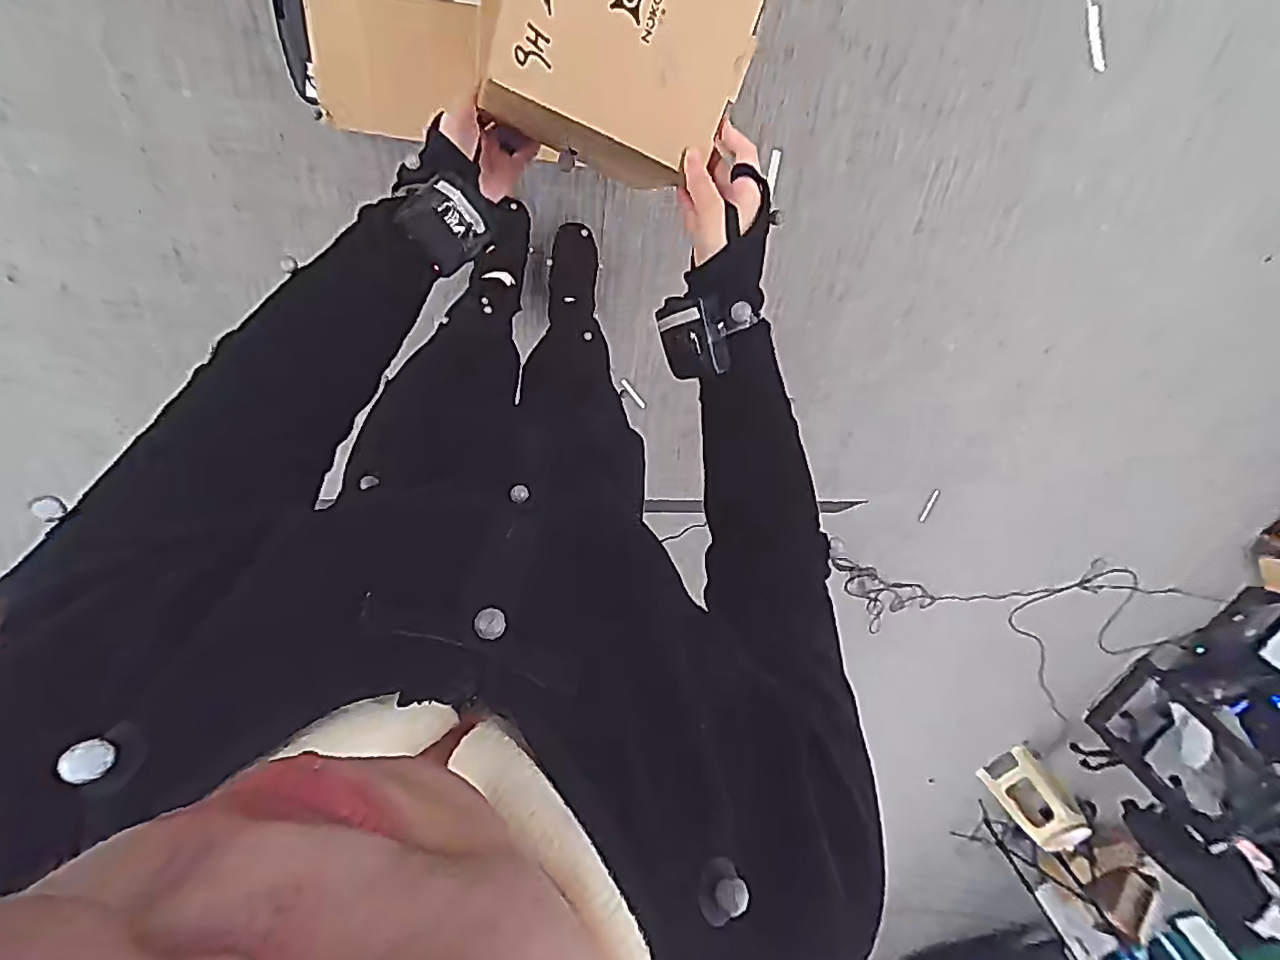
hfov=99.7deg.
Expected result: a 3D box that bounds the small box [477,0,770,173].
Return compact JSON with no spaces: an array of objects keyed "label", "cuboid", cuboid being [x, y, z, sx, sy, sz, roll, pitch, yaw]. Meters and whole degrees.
[{"label":"small box","cuboid":[-0.020,-0.365,0.430,0.179,0.176,0.168,12,110,-25]}]

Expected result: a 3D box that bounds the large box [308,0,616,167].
[{"label":"large box","cuboid":[-0.195,-0.646,0.744,0.408,0.320,0.320,2,123,-13]}]
